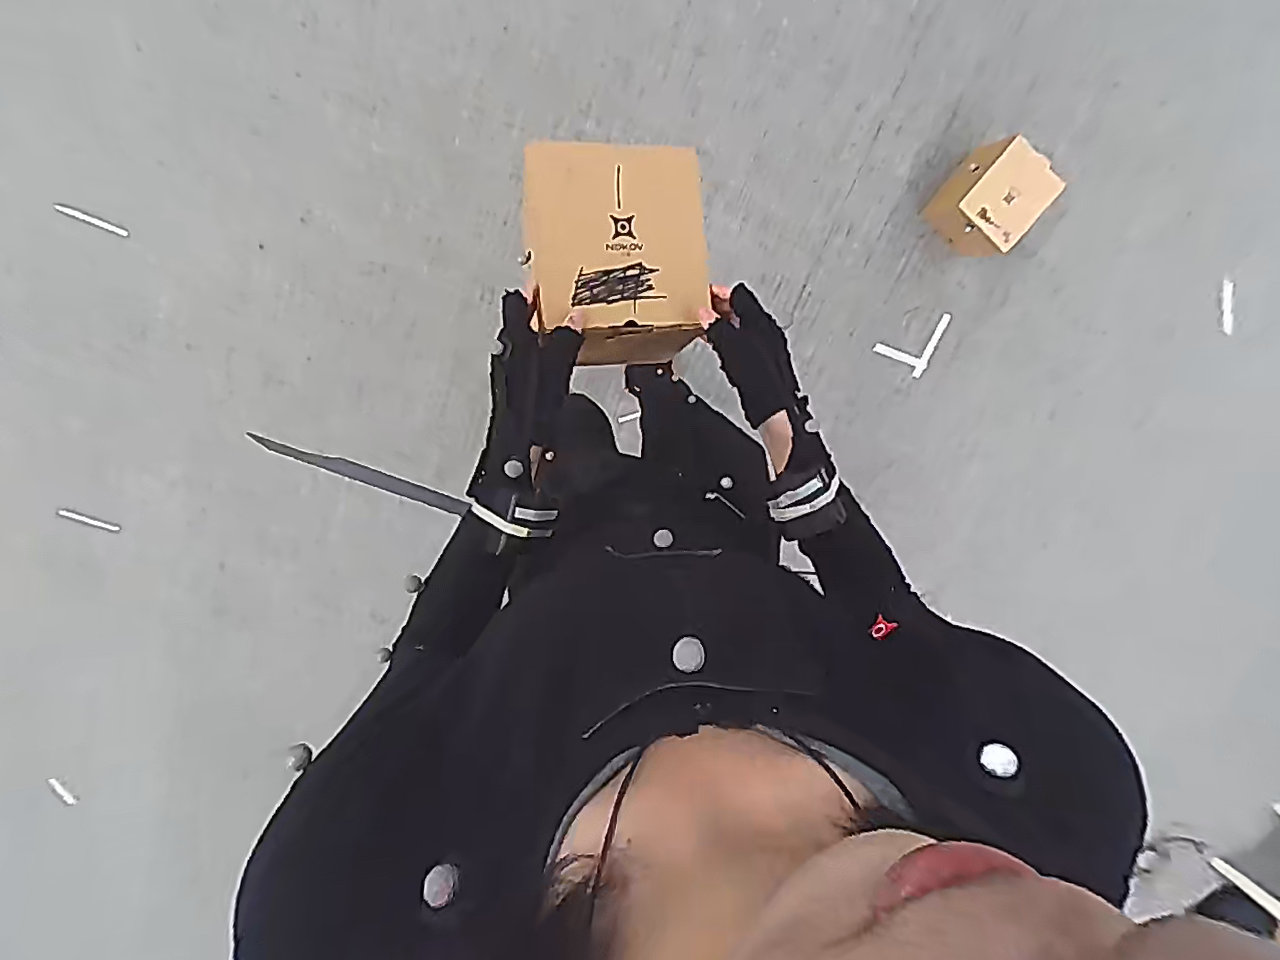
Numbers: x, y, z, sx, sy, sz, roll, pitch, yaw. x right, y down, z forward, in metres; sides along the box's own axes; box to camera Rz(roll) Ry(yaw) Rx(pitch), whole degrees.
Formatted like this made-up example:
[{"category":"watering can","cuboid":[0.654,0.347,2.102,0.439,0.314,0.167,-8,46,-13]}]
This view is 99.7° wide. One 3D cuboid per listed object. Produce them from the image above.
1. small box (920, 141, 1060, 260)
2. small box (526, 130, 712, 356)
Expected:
[{"category":"small box","cuboid":[0.801,-0.637,1.256,0.168,0.176,0.179,35,104,-14]},{"category":"small box","cuboid":[-0.033,-0.235,0.582,0.168,0.176,0.179,-6,91,-13]}]
